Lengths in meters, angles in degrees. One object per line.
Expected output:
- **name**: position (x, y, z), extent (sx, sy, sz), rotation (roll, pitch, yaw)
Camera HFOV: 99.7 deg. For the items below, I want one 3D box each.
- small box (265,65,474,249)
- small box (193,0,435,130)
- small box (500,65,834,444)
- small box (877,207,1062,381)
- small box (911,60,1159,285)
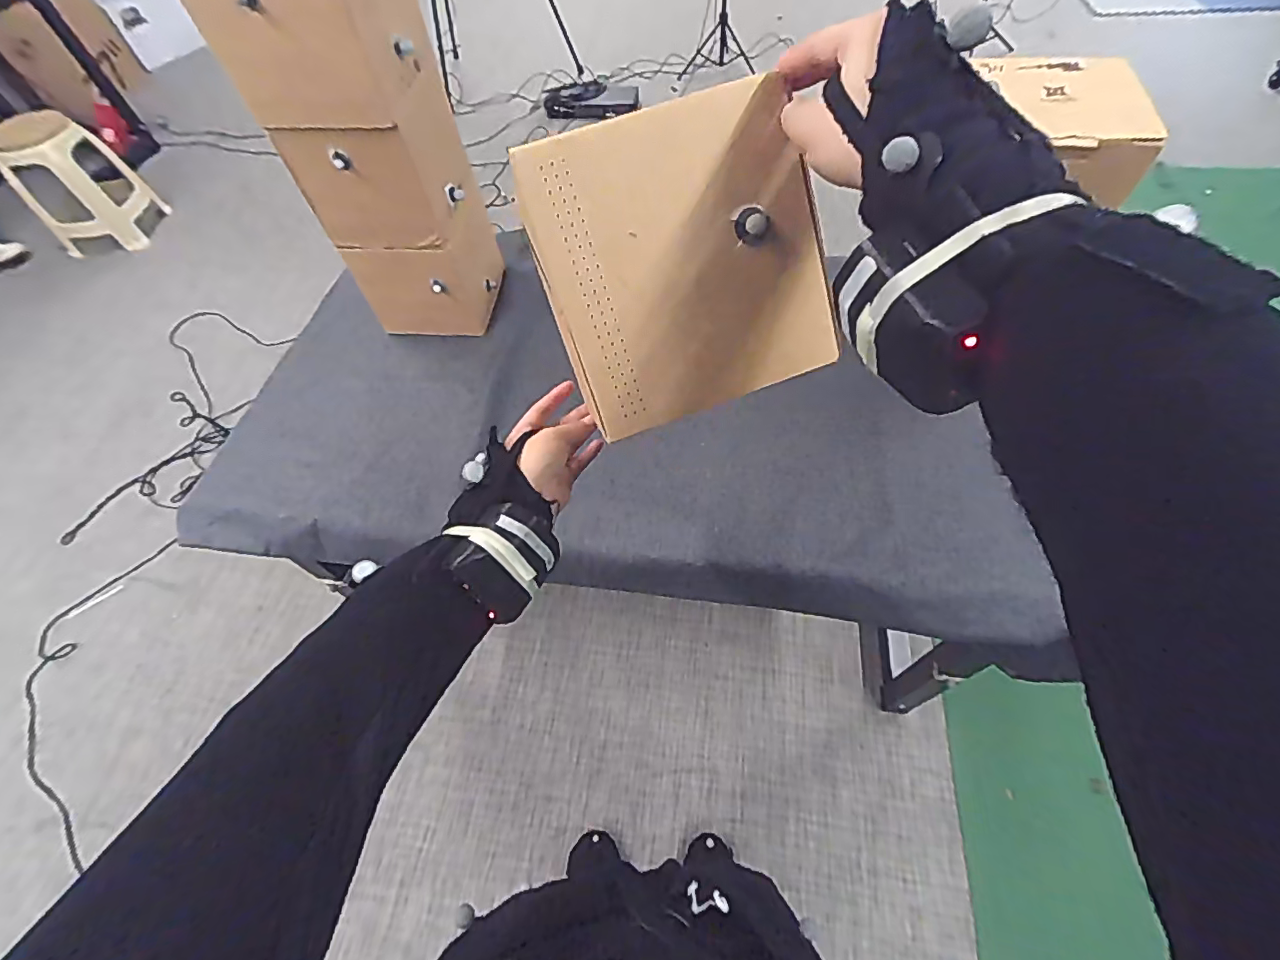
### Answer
- **small box**: position (-0.355, -0.442, 0.750), extent (0.179, 0.176, 0.168), rotation (3, 60, 4)
- **small box**: position (-0.362, -0.520, 0.605), extent (0.179, 0.176, 0.168), rotation (4, 60, 6)
- **small box**: position (0.013, -0.147, 0.399), extent (0.176, 0.179, 0.168), rotation (-19, 17, 2)
- **small box**: position (0.448, -0.268, 0.770), extent (0.168, 0.176, 0.179), rotation (7, 59, 9)
- **small box**: position (0.432, -0.350, 0.629), extent (0.168, 0.176, 0.179), rotation (8, 60, 9)
